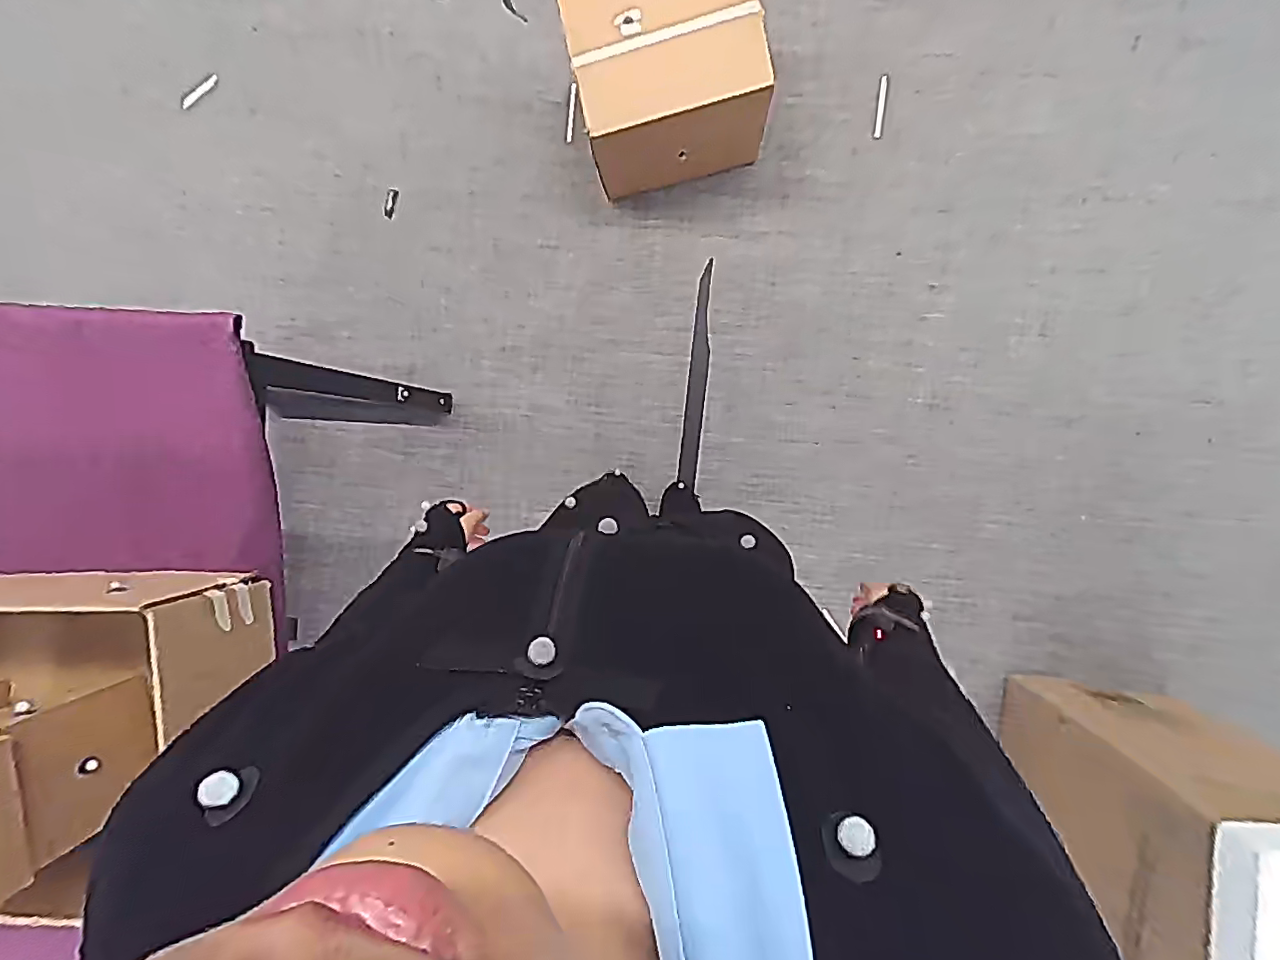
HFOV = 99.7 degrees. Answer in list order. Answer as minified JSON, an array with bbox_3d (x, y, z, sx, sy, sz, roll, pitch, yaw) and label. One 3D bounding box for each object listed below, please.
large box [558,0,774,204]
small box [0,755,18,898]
[{"bbox_3d":[0.068,-0.919,1.276,0.408,0.320,0.320,-13,91,7],"label":"large box"},{"bbox_3d":[-0.798,0.391,0.544,0.168,0.176,0.179,-6,91,7],"label":"small box"}]
